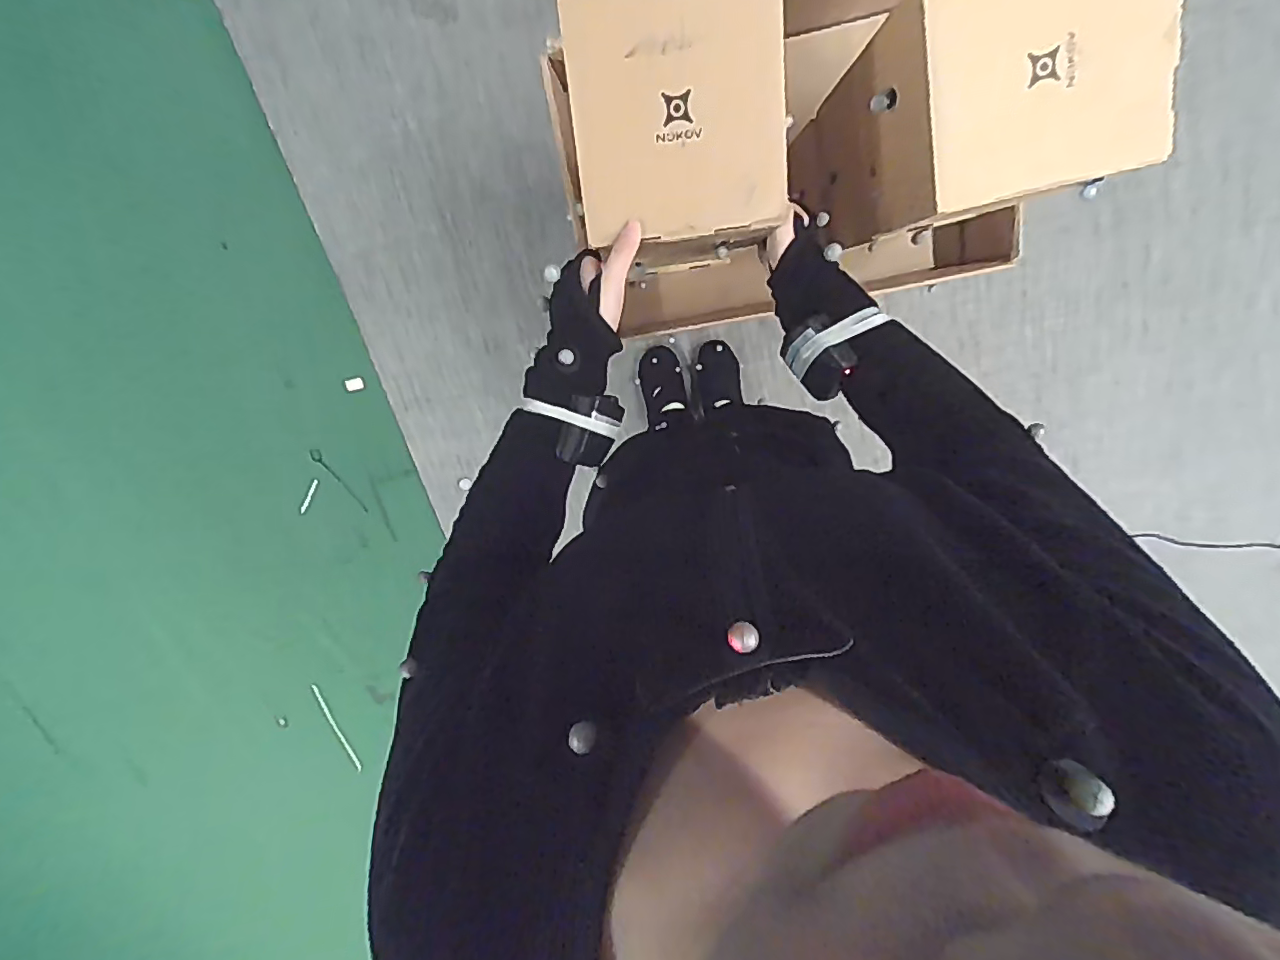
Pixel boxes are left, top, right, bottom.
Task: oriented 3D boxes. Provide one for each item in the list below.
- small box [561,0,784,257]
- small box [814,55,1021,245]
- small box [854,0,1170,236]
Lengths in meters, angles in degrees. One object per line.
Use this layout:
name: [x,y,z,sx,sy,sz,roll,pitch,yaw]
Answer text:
small box: [0.031,-0.306,0.493,0.168,0.176,0.179,-5,107,2]
small box: [0.314,-0.384,0.631,0.168,0.176,0.179,-12,109,6]
small box: [0.303,-0.329,0.478,0.179,0.176,0.168,-12,107,6]
